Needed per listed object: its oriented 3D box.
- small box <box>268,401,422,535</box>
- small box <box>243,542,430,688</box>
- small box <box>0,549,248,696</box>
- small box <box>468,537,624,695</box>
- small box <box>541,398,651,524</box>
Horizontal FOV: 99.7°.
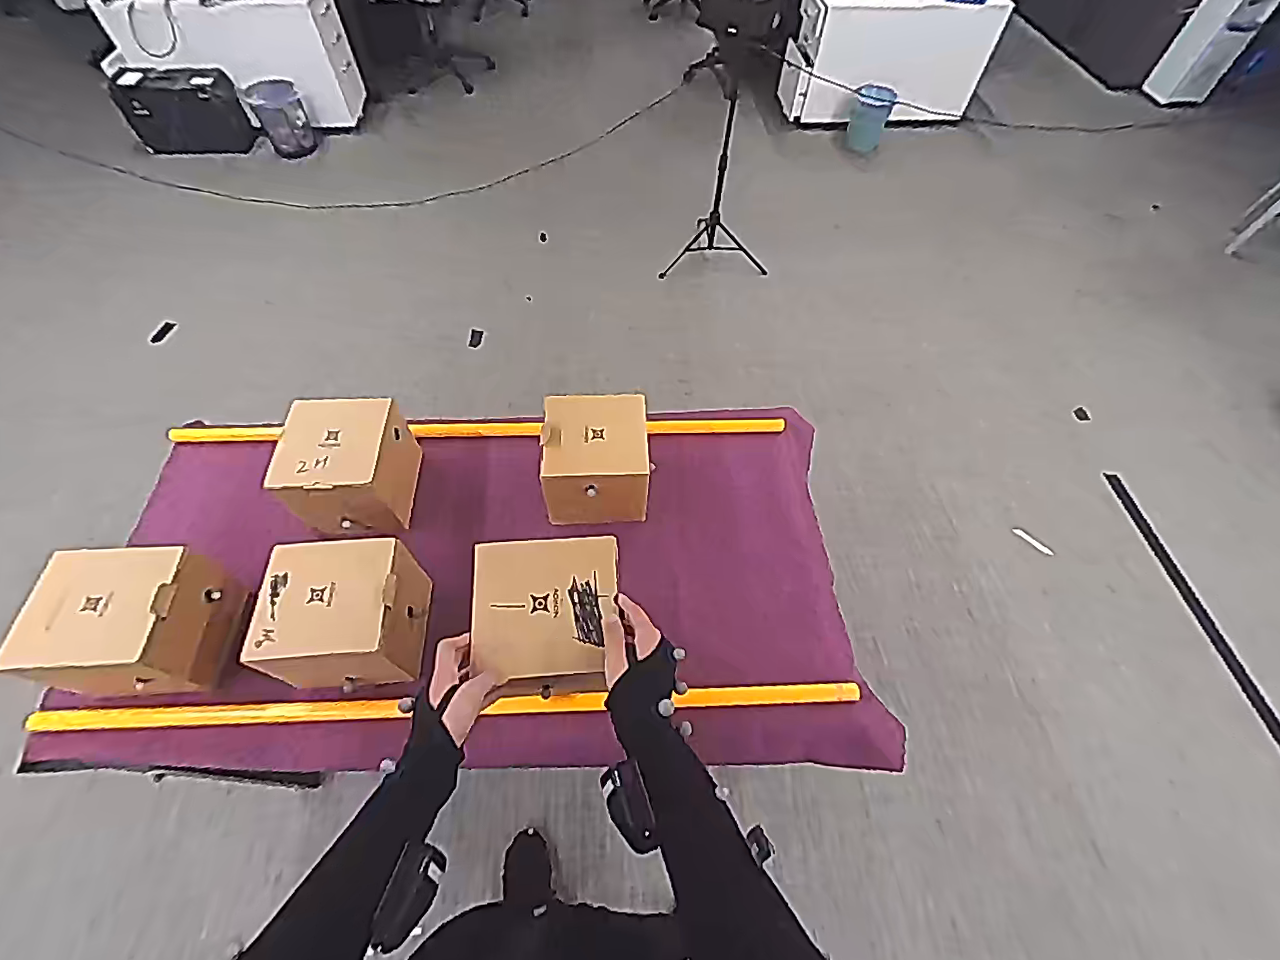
[{"bbox_3d":[-0.498,-0.018,0.946,0.168,0.176,0.179,-2,59,-2],"label":"small box"},{"bbox_3d":[-0.429,0.204,0.805,0.179,0.176,0.168,-2,57,-4],"label":"small box"},{"bbox_3d":[-0.724,0.210,0.790,0.179,0.176,0.168,-1,57,-5],"label":"small box"},{"bbox_3d":[-0.118,0.184,0.715,0.179,0.176,0.168,-3,62,-6],"label":"small box"},{"bbox_3d":[-0.075,-0.030,0.967,0.179,0.176,0.168,-2,59,-2],"label":"small box"}]
